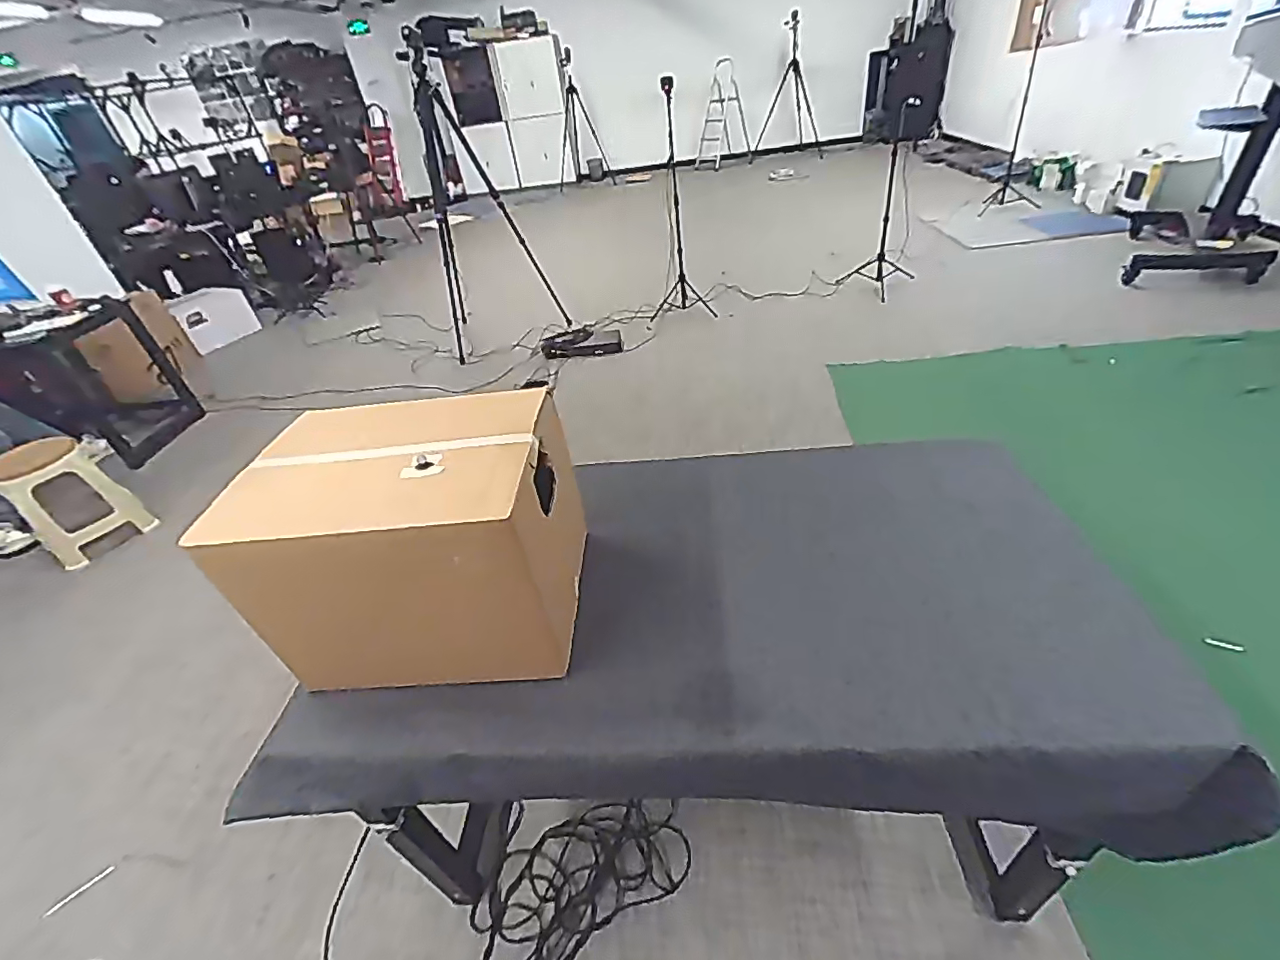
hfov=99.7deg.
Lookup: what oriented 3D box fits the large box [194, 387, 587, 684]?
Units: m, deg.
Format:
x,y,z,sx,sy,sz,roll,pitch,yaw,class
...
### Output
x,y,z,sx,sy,sz,roll,pitch,yaw,class
-0.312,0.081,0.825,0.408,0.320,0.320,-4,38,4,large box
